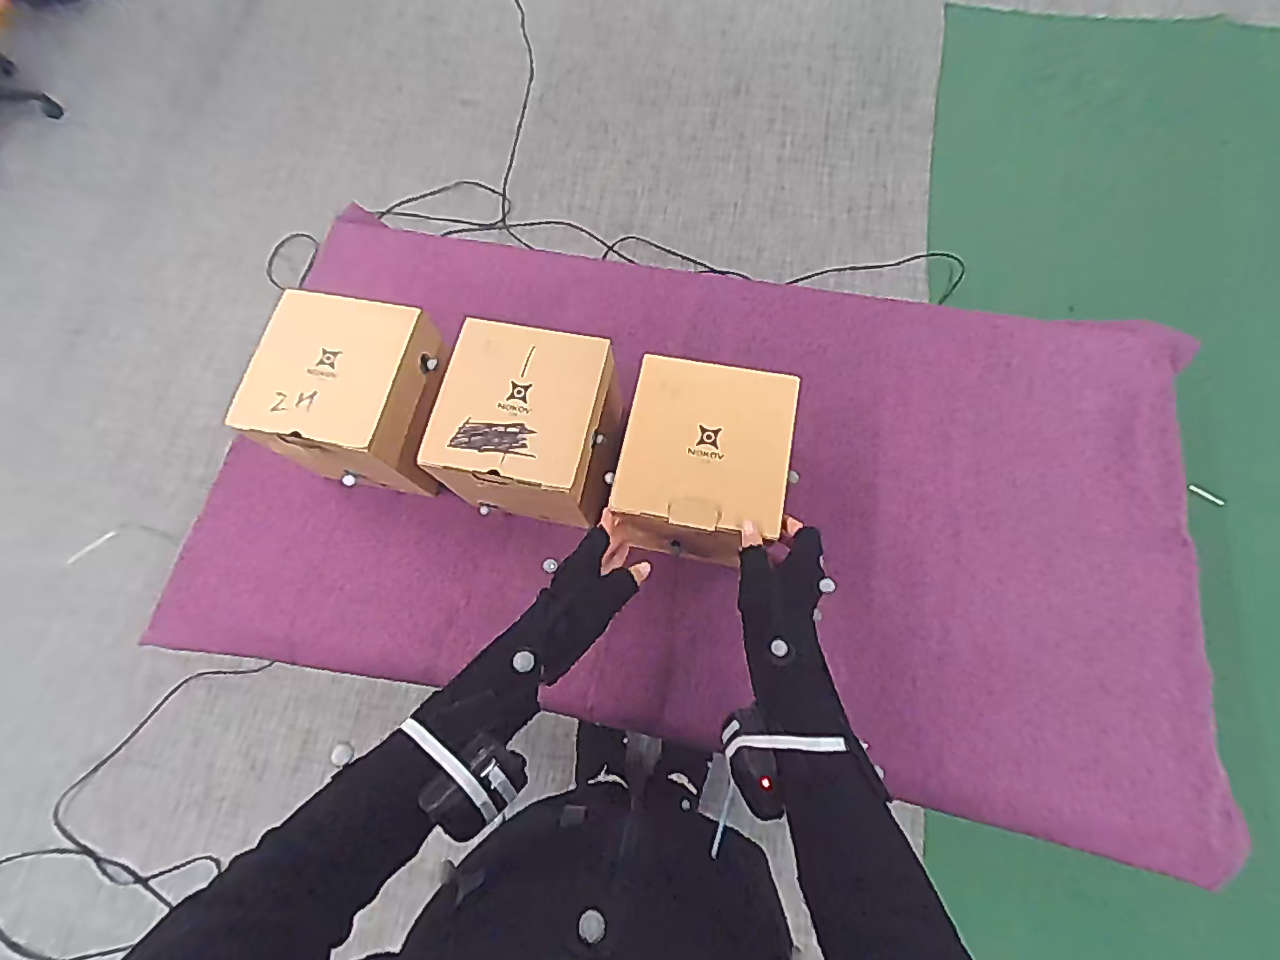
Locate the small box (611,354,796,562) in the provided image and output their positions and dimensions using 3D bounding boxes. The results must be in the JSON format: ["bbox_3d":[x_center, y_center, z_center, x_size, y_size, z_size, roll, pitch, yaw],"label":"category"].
[{"bbox_3d":[0.069,-0.016,0.619,0.168,0.176,0.179,10,74,6],"label":"small box"}]

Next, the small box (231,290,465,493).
[{"bbox_3d":[-0.335,-0.100,0.665,0.168,0.176,0.179,10,73,7],"label":"small box"}]
